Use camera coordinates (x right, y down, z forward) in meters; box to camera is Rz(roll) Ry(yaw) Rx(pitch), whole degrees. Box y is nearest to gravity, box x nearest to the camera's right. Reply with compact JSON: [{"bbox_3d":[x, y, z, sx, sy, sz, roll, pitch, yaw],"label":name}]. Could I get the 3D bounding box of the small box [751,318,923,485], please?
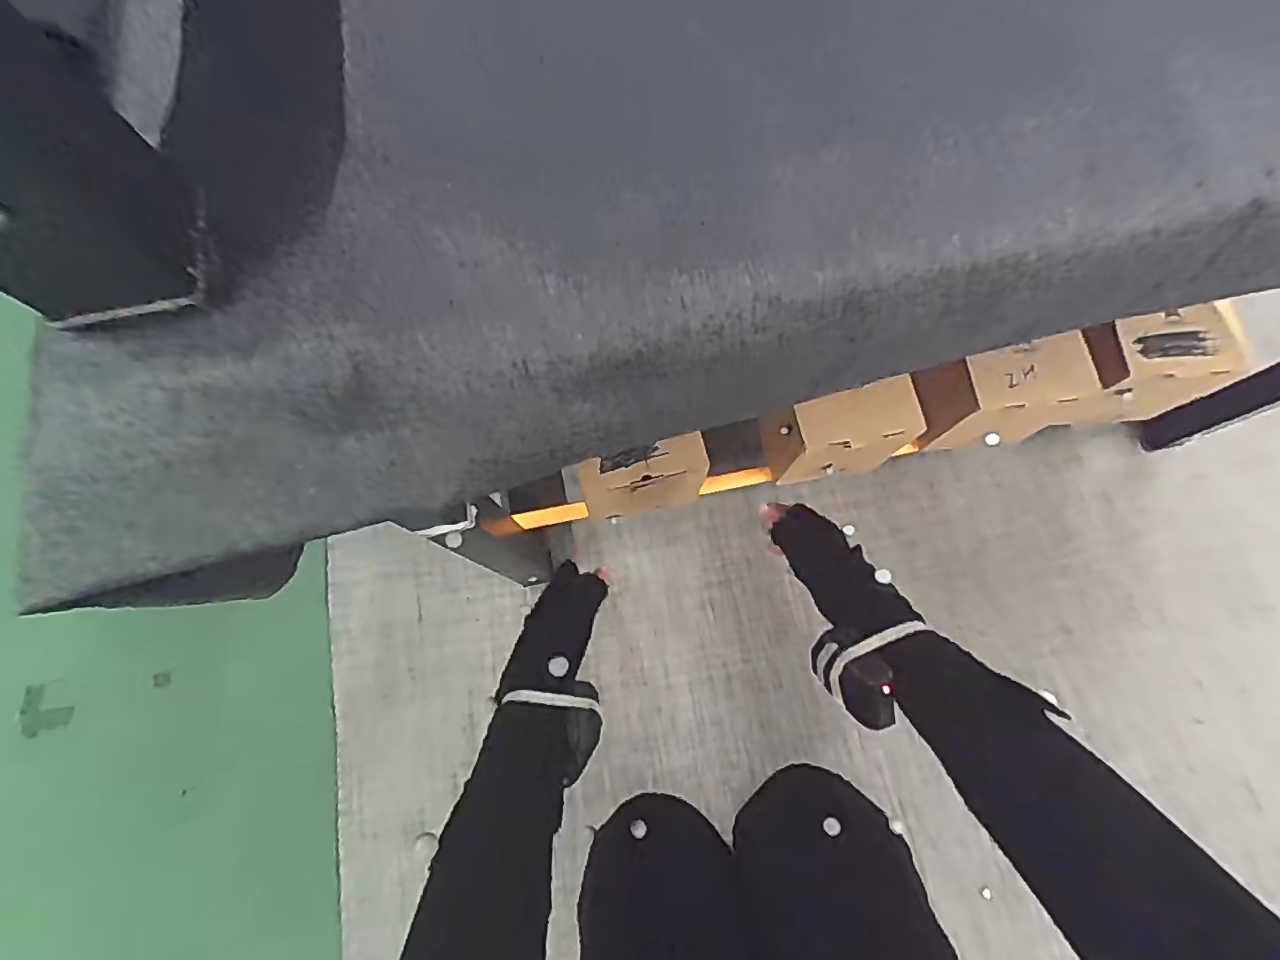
[{"bbox_3d":[0.270,-0.107,0.789,0.168,0.176,0.179,-9,74,-2],"label":"small box"}]
